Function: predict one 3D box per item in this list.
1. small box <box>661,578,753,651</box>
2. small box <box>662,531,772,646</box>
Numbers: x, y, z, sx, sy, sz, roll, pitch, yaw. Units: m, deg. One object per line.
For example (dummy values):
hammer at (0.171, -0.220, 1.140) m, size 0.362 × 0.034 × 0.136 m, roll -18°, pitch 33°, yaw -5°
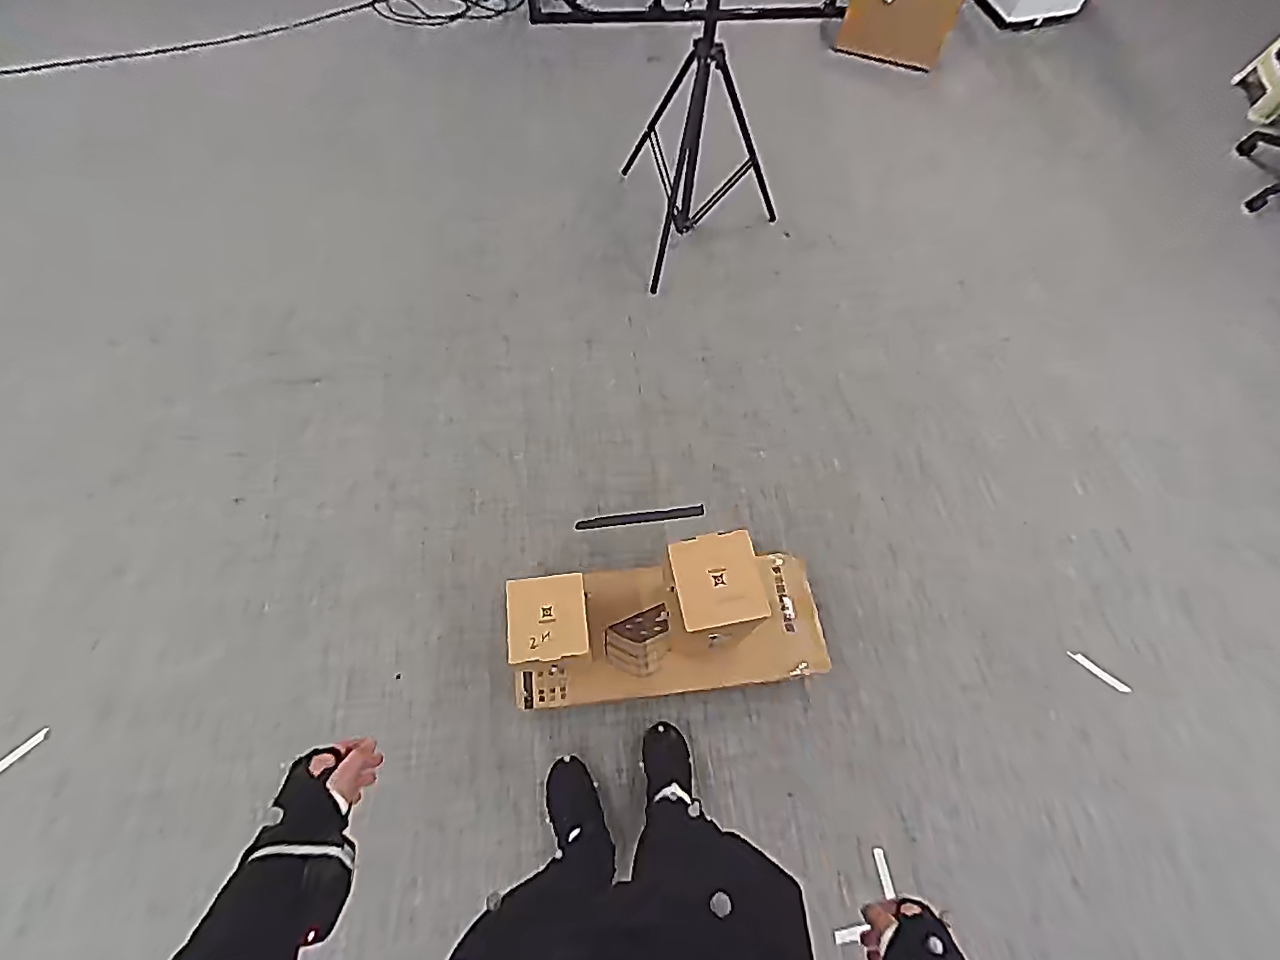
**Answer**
small box at (0.146, 0.291, 1.244) m, size 0.168 × 0.176 × 0.179 m, roll -7°, pitch 67°, yaw -6°
small box at (0.144, 0.223, 1.095) m, size 0.168 × 0.176 × 0.179 m, roll -10°, pitch 67°, yaw -7°
